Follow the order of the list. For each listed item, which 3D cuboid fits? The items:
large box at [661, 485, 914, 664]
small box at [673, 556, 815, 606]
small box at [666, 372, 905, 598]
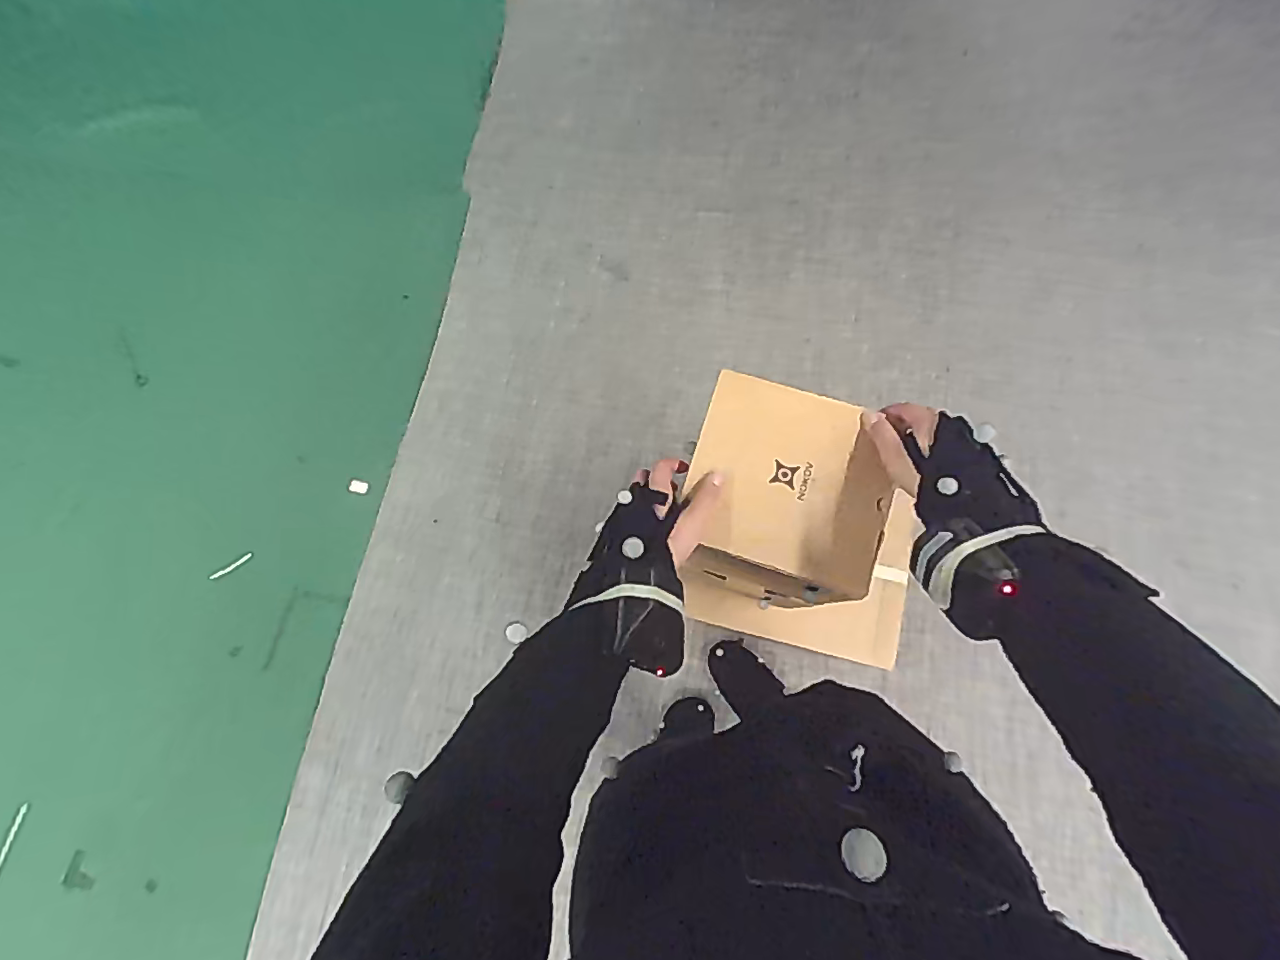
[{"bbox_3d":[0.270,0.158,1.091,0.408,0.320,0.320,13,78,8],"label":"large box"},{"bbox_3d":[0.147,0.059,0.708,0.168,0.176,0.179,16,77,7],"label":"small box"},{"bbox_3d":[0.133,0.018,0.550,0.179,0.176,0.168,17,77,7],"label":"small box"}]
